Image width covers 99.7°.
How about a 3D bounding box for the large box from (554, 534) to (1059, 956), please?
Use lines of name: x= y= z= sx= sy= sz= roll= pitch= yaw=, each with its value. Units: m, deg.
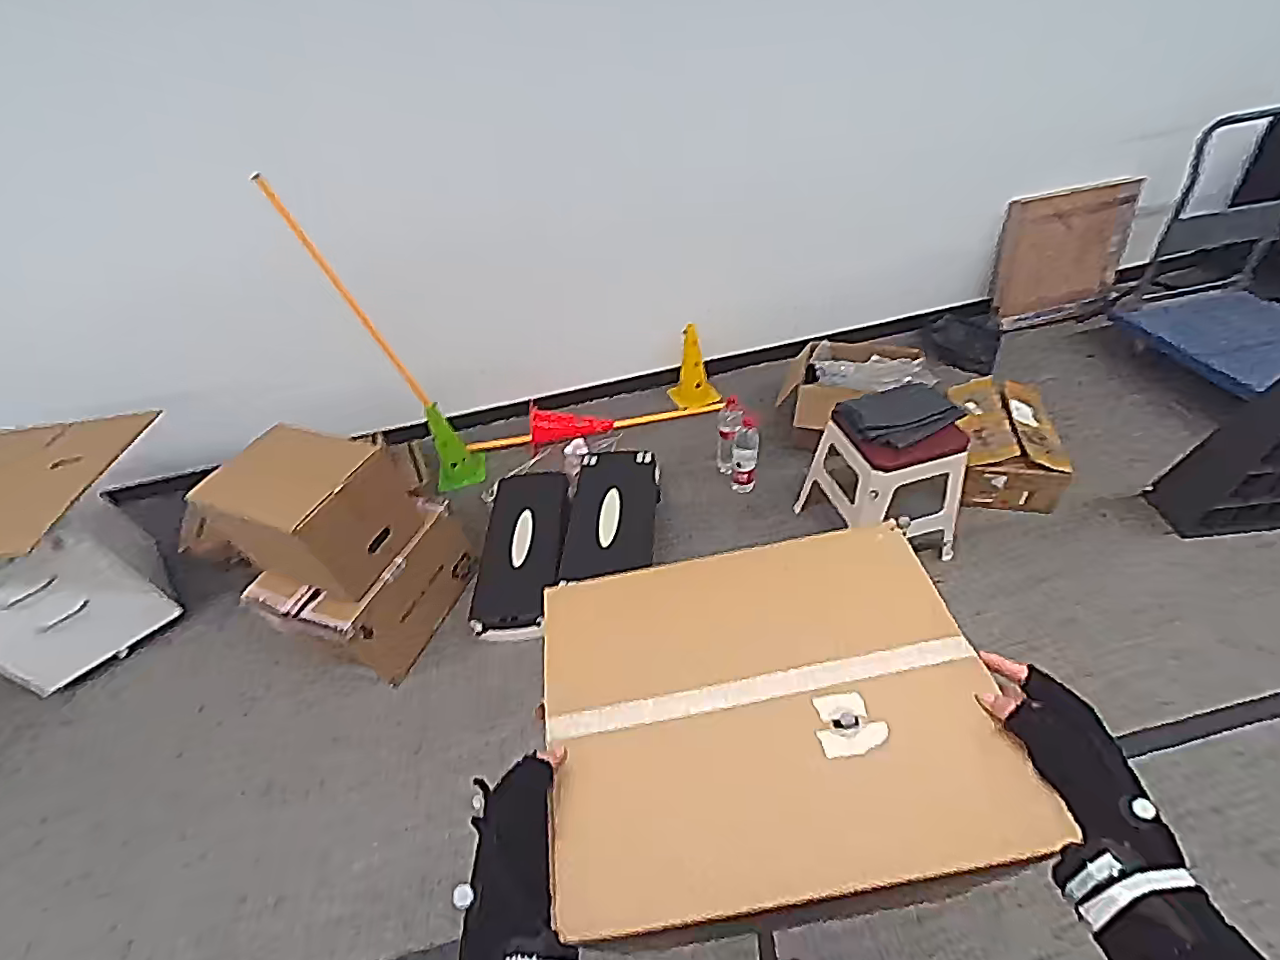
large box: x=0.135 y=0.311 z=0.630 sx=0.408 sy=0.320 sz=0.320 roll=-11 pitch=47 yaw=1
